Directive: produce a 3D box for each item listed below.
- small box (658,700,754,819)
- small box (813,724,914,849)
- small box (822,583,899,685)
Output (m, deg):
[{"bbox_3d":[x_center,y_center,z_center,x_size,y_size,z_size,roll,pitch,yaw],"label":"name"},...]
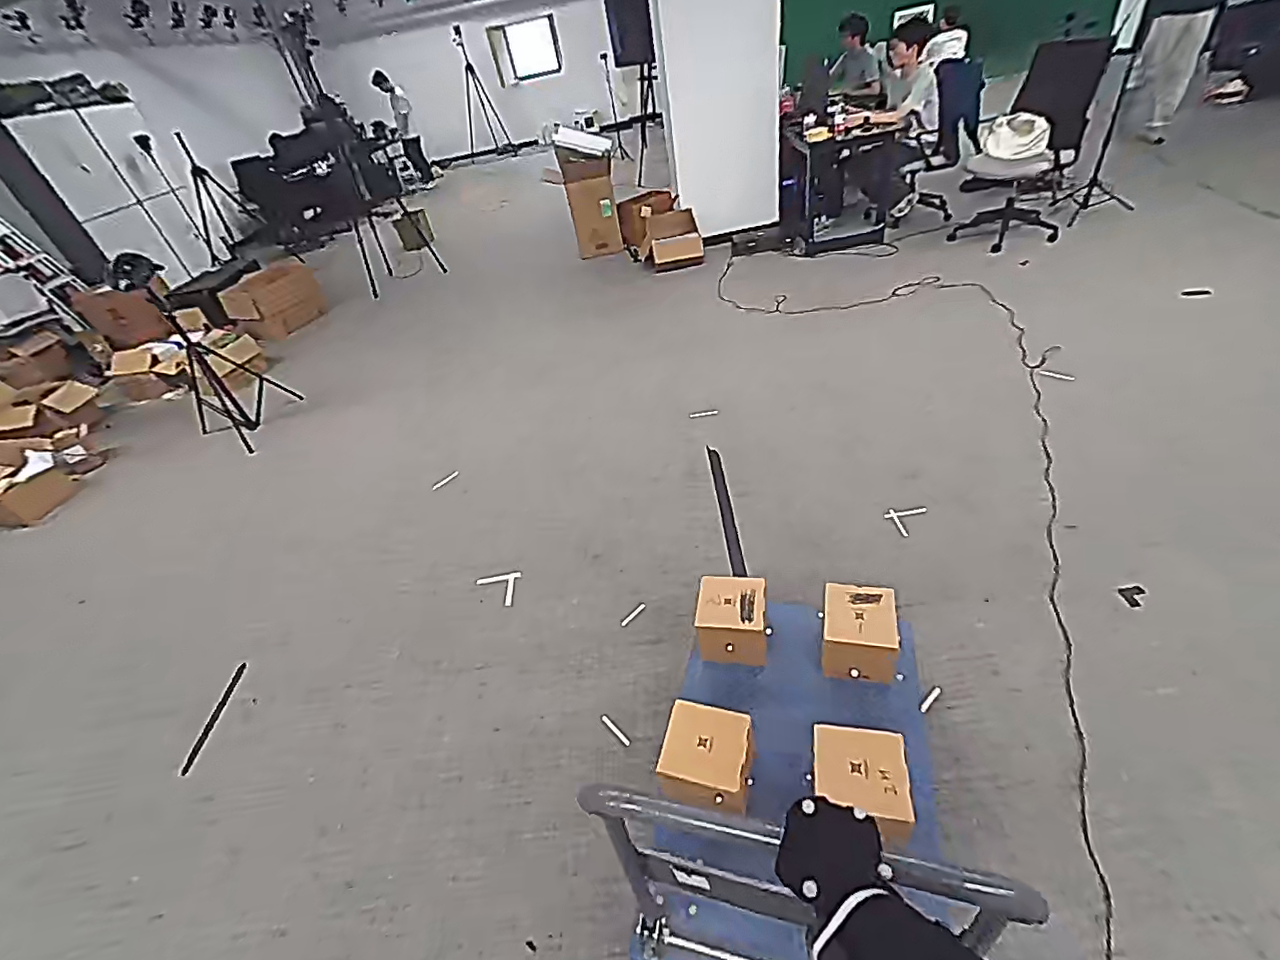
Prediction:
[{"bbox_3d":[0.155,0.626,1.208,0.179,0.176,0.168,5,42,19],"label":"small box"},{"bbox_3d":[0.451,0.632,1.115,0.179,0.176,0.168,0,41,16],"label":"small box"},{"bbox_3d":[0.557,0.390,1.379,0.168,0.176,0.179,2,42,19],"label":"small box"}]
